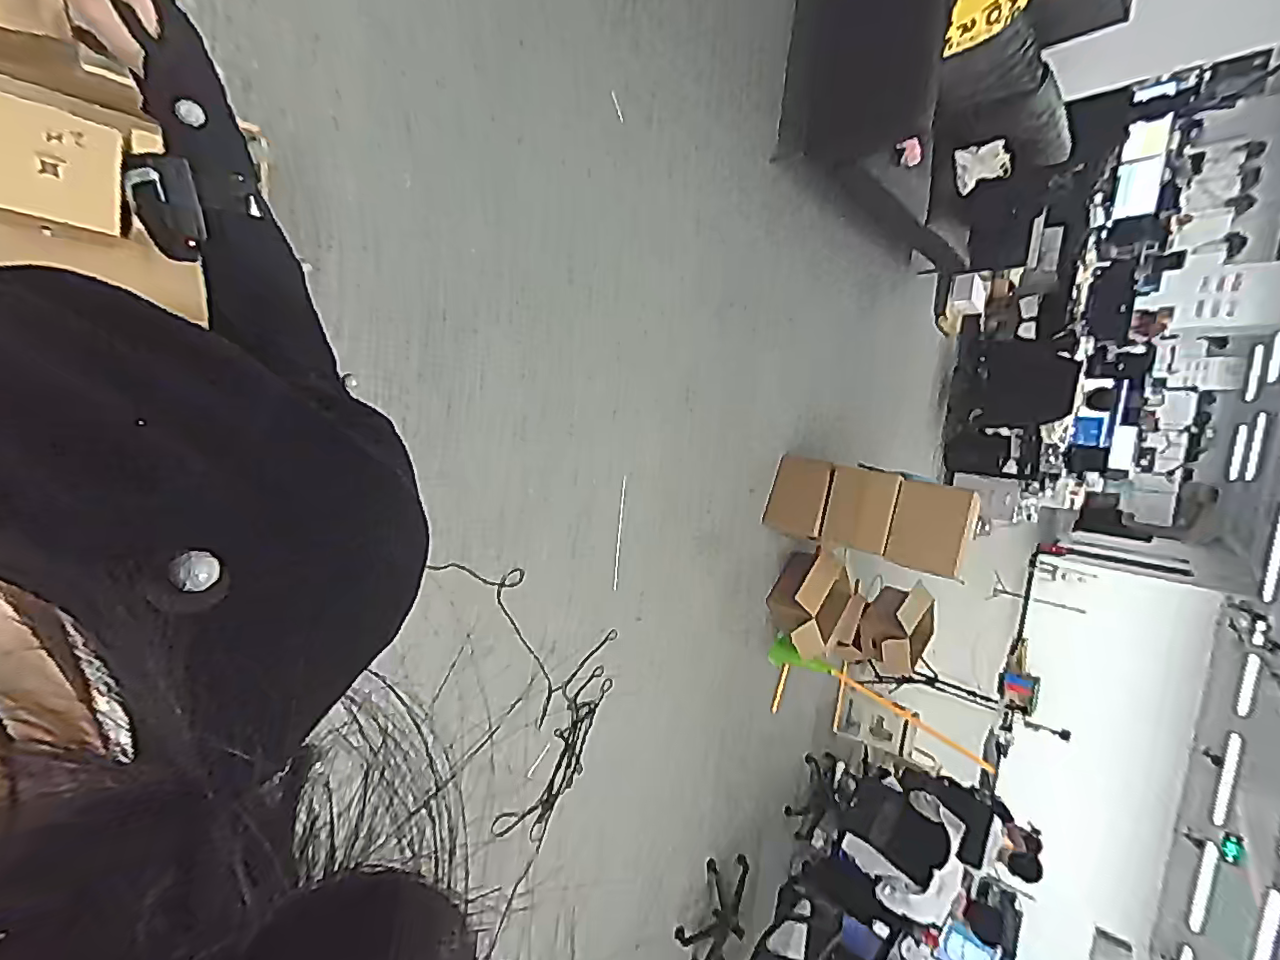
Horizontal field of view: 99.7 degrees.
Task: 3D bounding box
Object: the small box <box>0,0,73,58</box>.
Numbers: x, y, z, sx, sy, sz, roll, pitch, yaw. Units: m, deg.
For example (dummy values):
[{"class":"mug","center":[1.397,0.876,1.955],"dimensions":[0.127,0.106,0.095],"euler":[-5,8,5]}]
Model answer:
[{"class":"small box","center":[-0.515,-0.404,0.350],"dimensions":[0.179,0.176,0.168],"euler":[-14,121,-40]}]
